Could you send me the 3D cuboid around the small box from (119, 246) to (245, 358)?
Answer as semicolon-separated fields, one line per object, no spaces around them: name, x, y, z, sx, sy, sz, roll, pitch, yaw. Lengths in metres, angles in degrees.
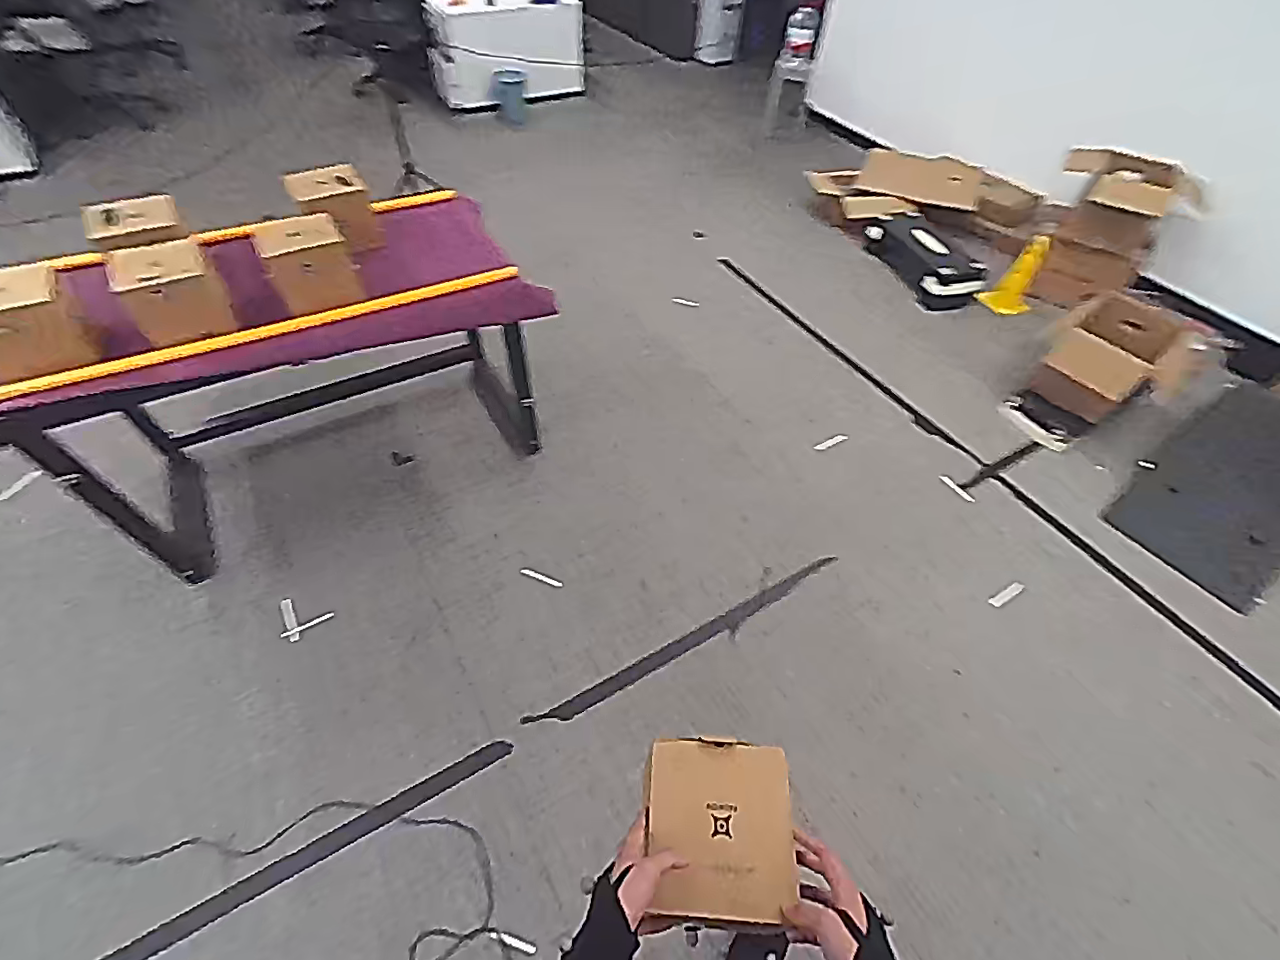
small box;-1.071;-0.417;1.273;0.168;0.176;0.179;-24;56;-20

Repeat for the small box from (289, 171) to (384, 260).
small box;-0.856;-0.745;1.543;0.179;0.176;0.168;-27;59;-21

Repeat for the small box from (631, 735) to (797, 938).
small box;0.077;0.436;0.662;0.168;0.176;0.179;4;47;-1

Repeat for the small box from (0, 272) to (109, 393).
small box;-1.318;-0.321;1.183;0.179;0.176;0.168;-24;56;-21

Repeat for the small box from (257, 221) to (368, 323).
small box;-0.824;-0.525;1.370;0.179;0.176;0.168;-25;56;-21
